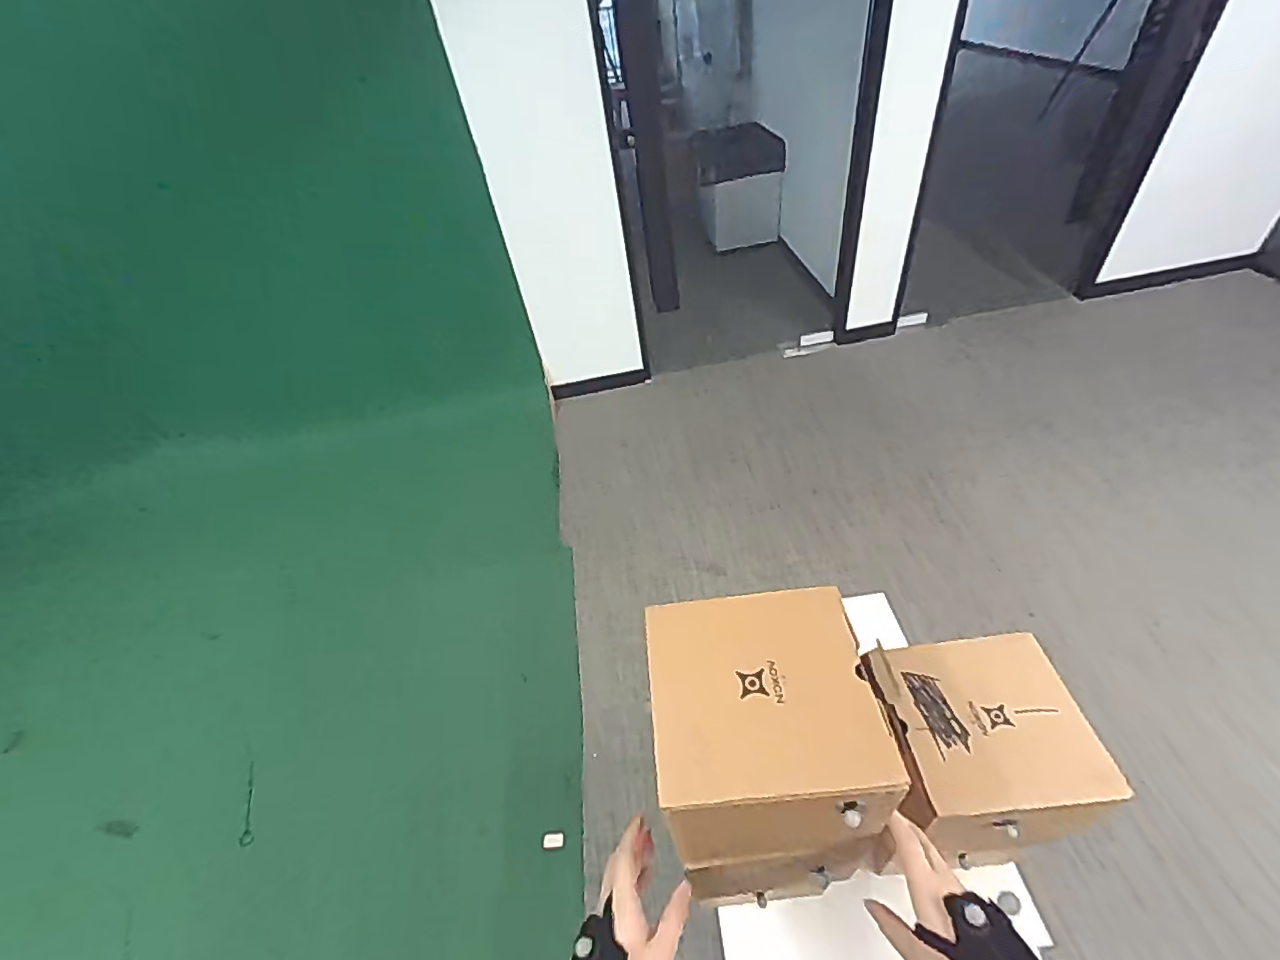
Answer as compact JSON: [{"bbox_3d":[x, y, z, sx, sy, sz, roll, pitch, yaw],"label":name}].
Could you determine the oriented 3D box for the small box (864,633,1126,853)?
[{"bbox_3d":[0.354,0.292,0.594,0.179,0.176,0.168,-8,44,3],"label":"small box"}]

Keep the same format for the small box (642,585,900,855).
[{"bbox_3d":[0.101,0.217,0.486,0.179,0.176,0.168,-7,44,2],"label":"small box"}]

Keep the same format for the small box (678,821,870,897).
[{"bbox_3d":[0.123,0.337,0.597,0.179,0.176,0.168,-9,43,1],"label":"small box"}]
